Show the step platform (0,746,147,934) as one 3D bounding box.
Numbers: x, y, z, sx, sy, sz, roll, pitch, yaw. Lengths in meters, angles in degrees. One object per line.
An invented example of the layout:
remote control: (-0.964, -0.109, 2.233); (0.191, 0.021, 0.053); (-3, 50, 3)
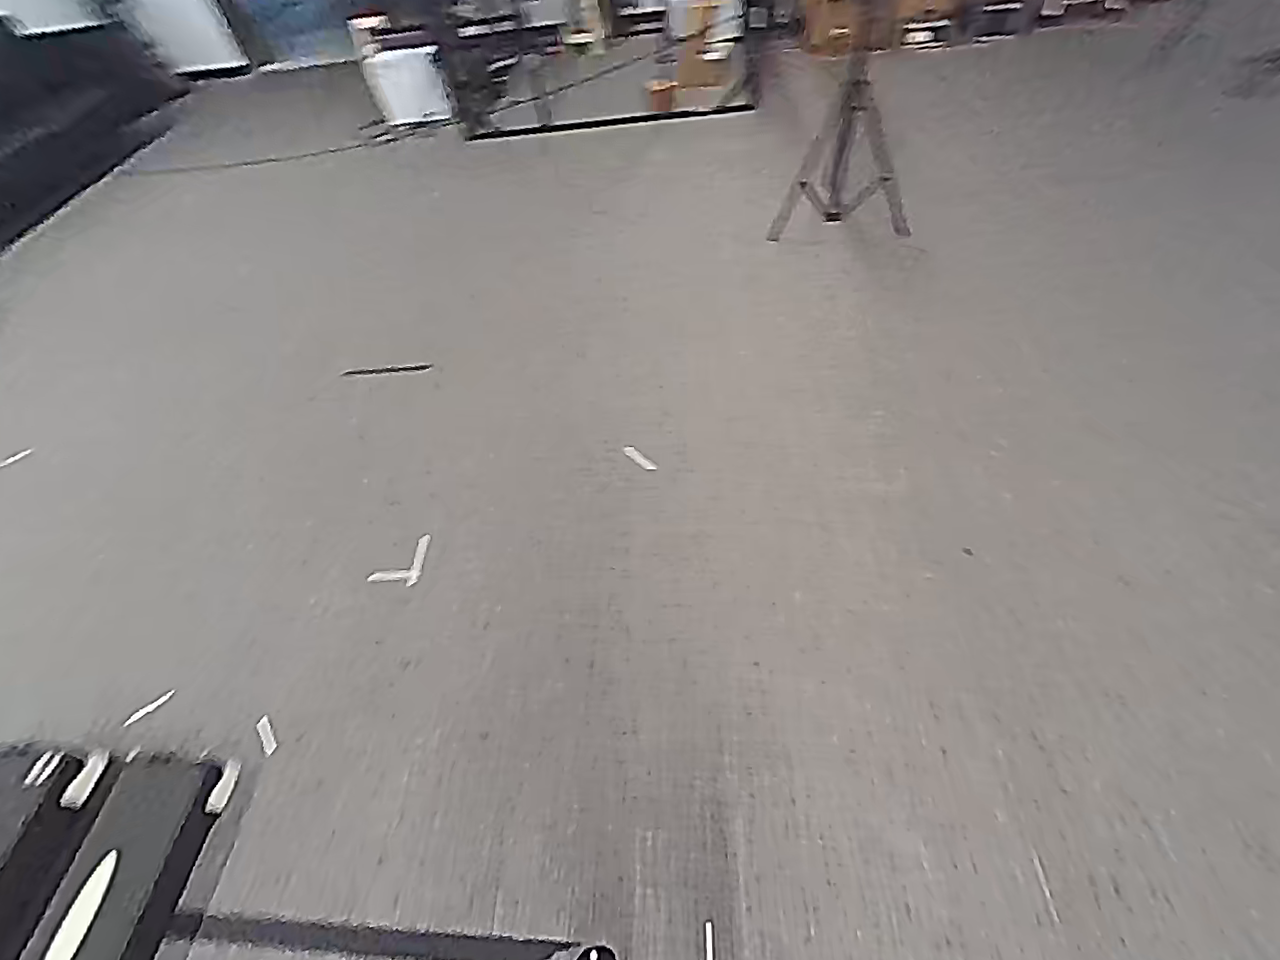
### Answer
step platform: (-1.439, 0.952, 1.162); (0.286, 0.204, 0.684); (-2, 51, 6)
